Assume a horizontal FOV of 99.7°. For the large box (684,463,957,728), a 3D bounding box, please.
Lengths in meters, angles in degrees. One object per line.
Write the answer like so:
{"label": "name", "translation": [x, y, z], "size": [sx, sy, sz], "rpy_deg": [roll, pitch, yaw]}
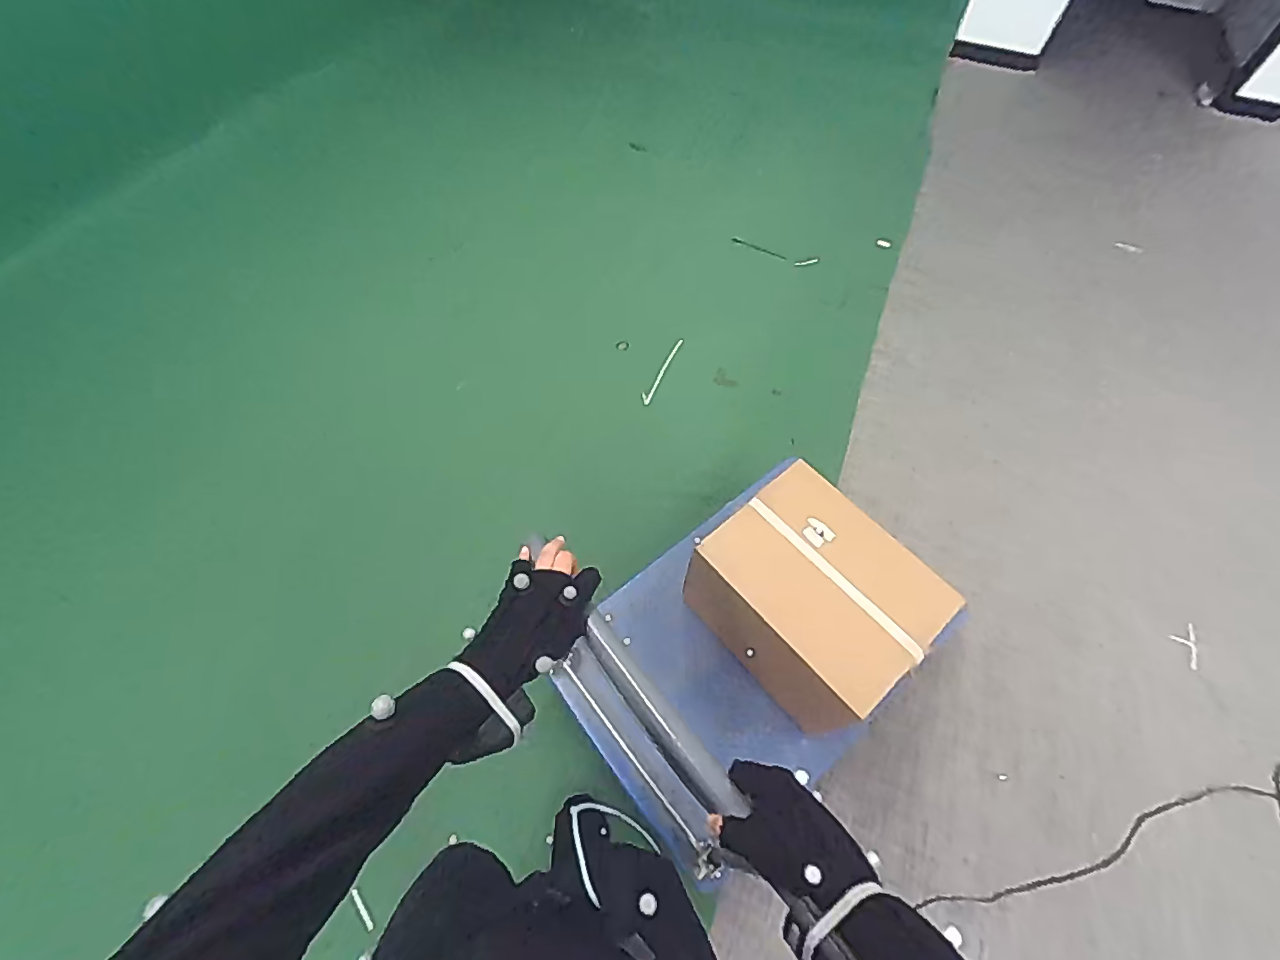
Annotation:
{"label": "large box", "translation": [0.346, 0.250, 1.151], "size": [0.320, 0.320, 0.408], "rpy_deg": [-36, 67, -20]}
